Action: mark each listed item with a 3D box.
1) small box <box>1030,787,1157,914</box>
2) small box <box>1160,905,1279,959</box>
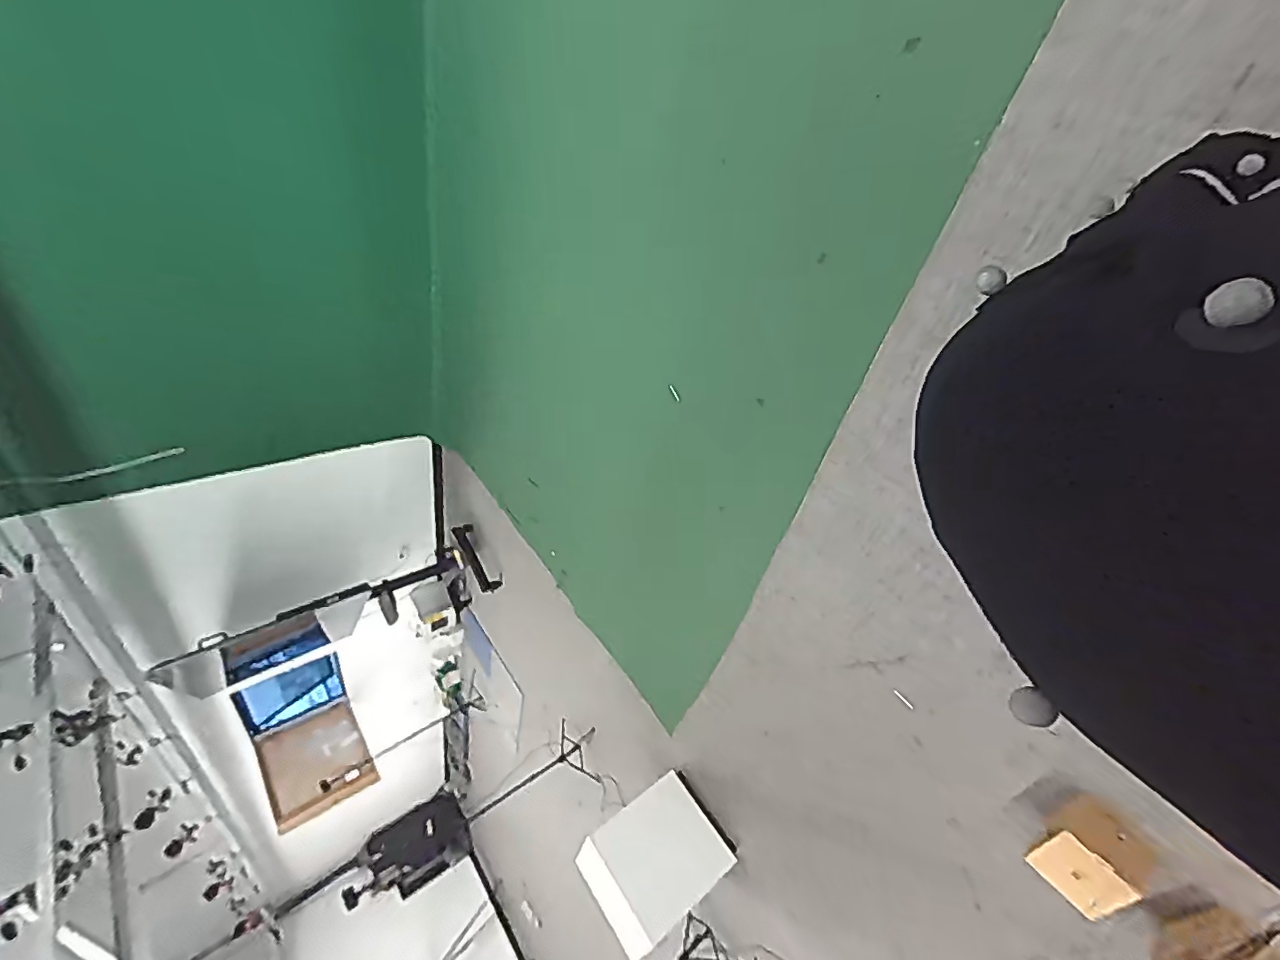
[{"bbox_3d":[1.134,0.918,1.350,0.168,0.176,0.179,41,133,34],"label":"small box"},{"bbox_3d":[1.309,1.094,1.198,0.168,0.176,0.179,46,137,31],"label":"small box"}]
